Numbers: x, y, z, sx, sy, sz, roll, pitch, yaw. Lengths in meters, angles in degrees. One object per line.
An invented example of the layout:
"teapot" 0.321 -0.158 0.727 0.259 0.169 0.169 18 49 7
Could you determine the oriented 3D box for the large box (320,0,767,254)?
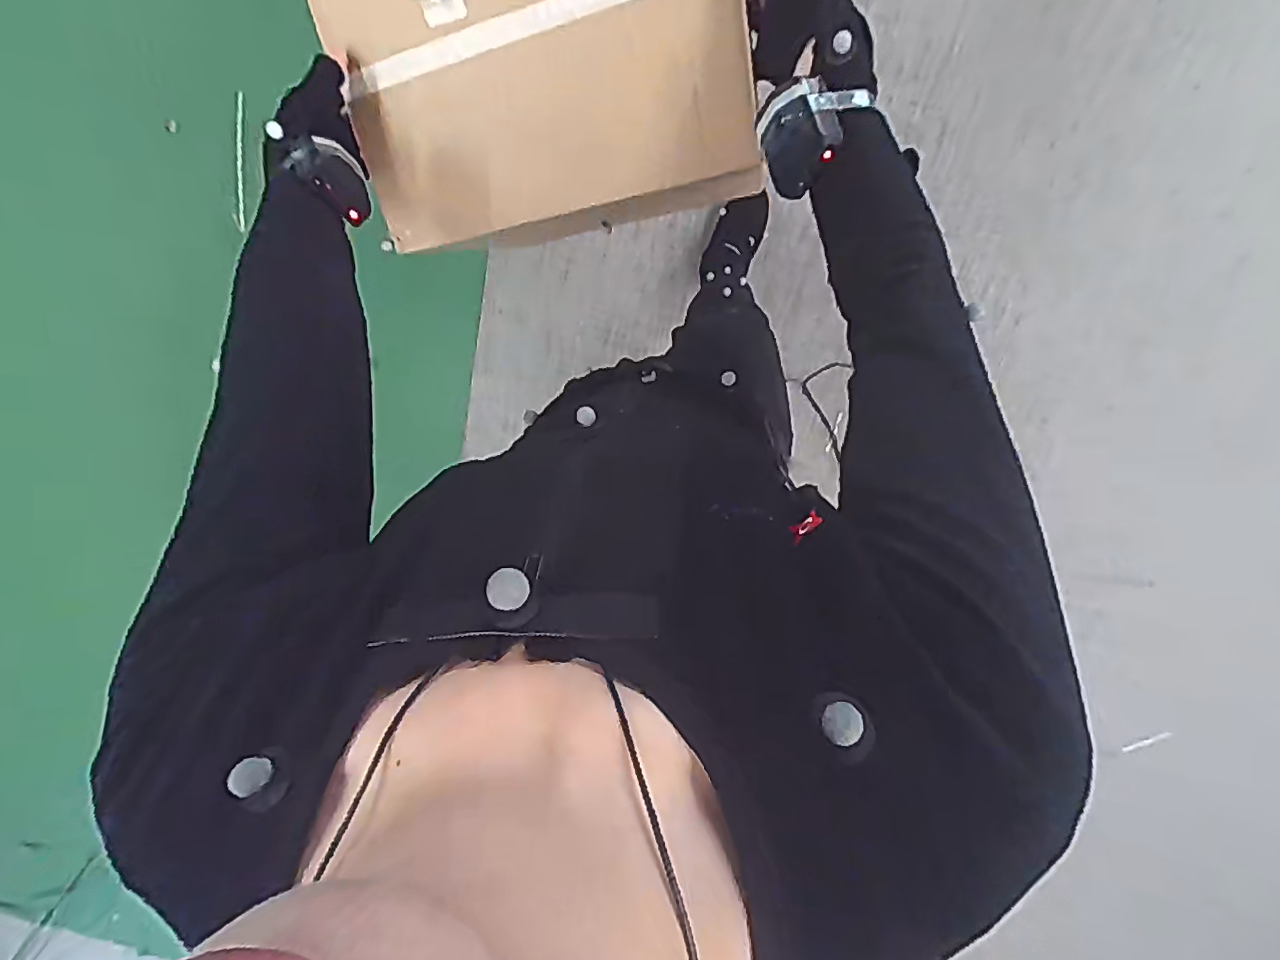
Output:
"large box" -0.074 -0.476 0.636 0.408 0.320 0.320 -6 111 16
